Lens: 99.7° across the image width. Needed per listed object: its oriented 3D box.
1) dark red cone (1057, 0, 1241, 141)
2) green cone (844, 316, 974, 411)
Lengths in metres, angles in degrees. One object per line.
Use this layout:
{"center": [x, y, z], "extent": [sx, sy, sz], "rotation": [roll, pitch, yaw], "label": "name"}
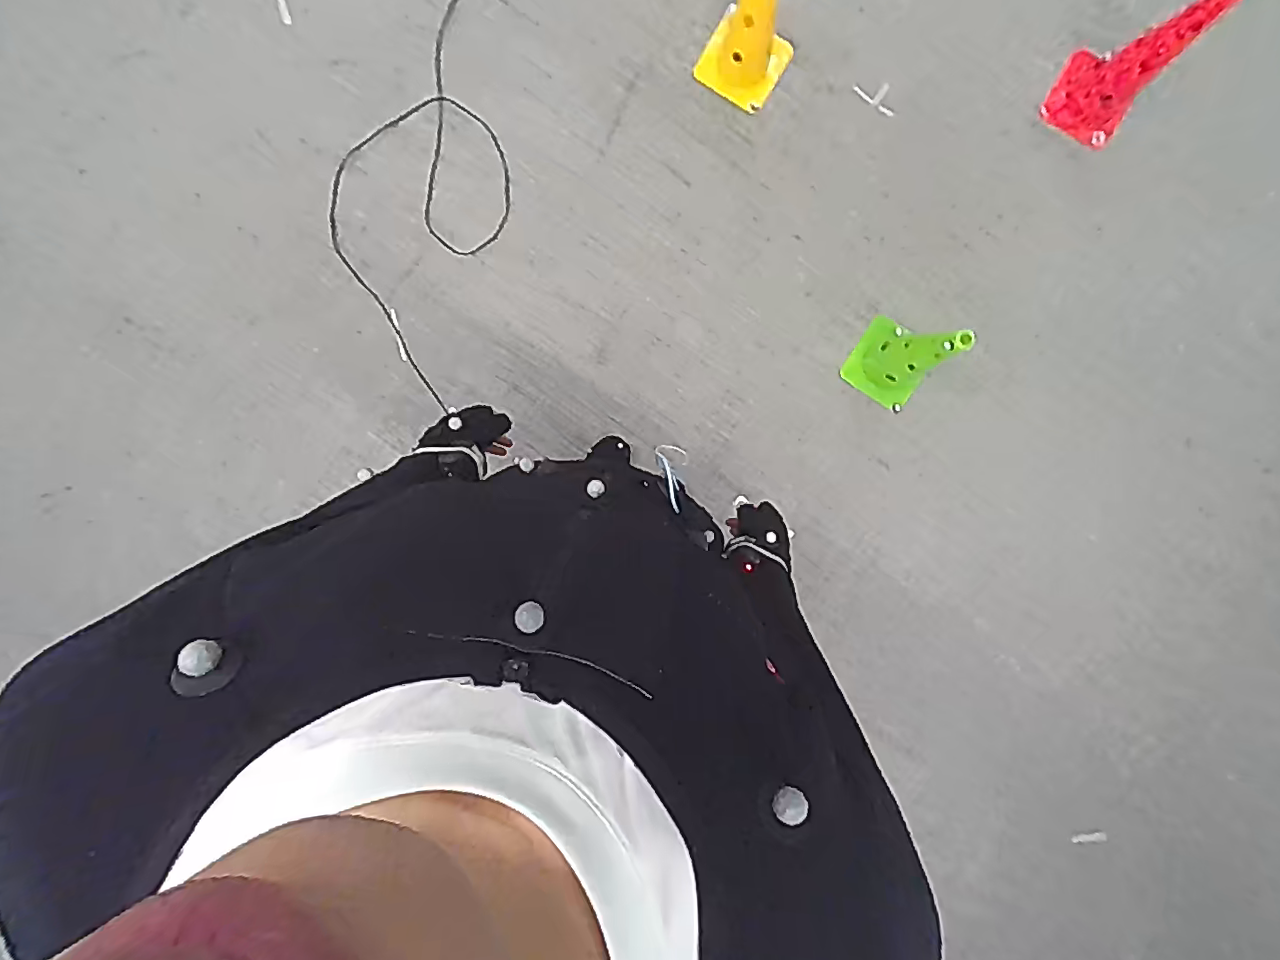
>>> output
{"center": [1.181, -0.982, 1.212], "extent": [0.202, 0.394, 0.201], "rotation": [29, 92, -2], "label": "dark red cone"}
{"center": [0.675, -0.305, 1.283], "extent": [0.202, 0.368, 0.200], "rotation": [33, 93, -1], "label": "green cone"}
